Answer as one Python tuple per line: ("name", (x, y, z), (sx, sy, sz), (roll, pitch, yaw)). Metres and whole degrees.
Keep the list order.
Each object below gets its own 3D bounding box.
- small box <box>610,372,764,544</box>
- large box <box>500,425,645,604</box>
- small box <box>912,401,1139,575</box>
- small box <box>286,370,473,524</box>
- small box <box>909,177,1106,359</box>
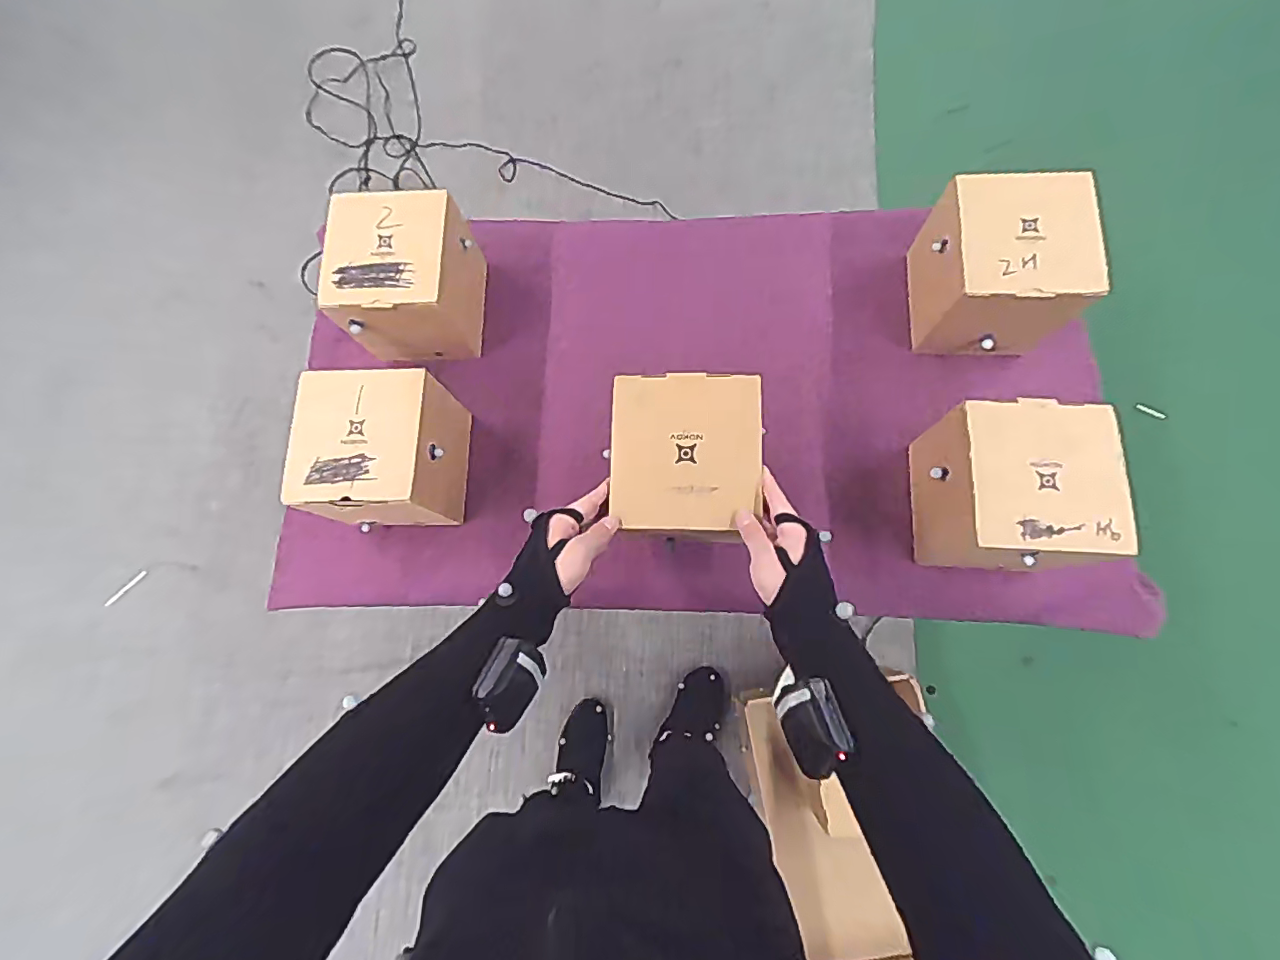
("small box", (0.057, -0.019, 0.668), (0.168, 0.176, 0.179), (1, 79, 4))
("large box", (-0.154, 0.103, 1.387), (0.320, 0.320, 0.408), (-1, 75, 3))
("small box", (0.461, 0.017, 0.681), (0.168, 0.176, 0.179), (2, 73, 6))
("small box", (-0.344, -0.035, 0.749), (0.168, 0.176, 0.179), (-1, 74, 3))
("small box", (0.492, -0.288, 0.755), (0.168, 0.176, 0.179), (2, 77, 7))
